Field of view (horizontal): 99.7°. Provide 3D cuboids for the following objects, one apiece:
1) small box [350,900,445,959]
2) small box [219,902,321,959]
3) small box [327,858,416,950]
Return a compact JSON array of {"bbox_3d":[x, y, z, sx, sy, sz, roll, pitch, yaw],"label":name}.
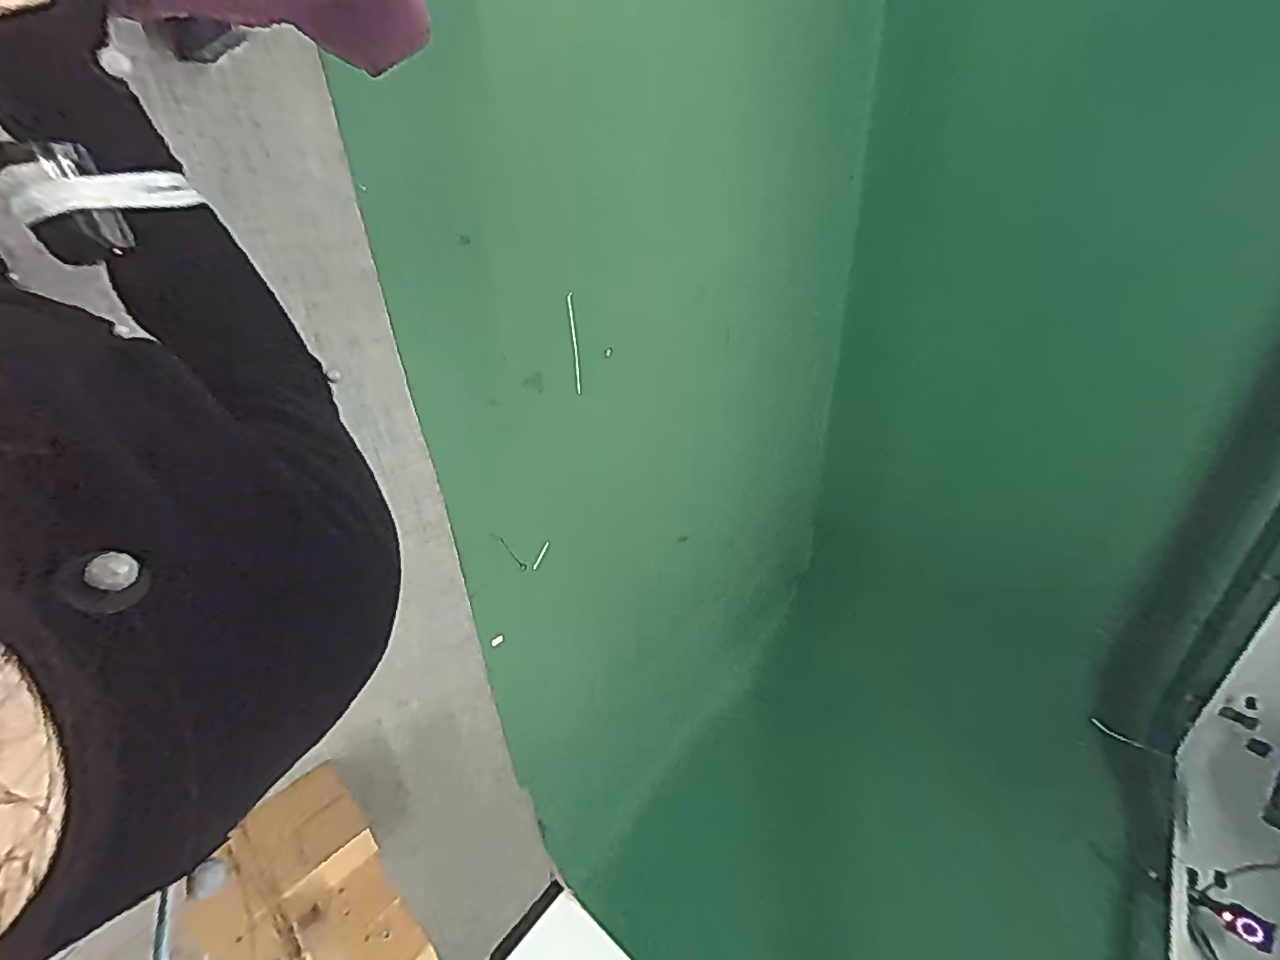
[{"bbox_3d":[-0.634,1.276,1.431,0.168,0.176,0.179,-28,127,-42],"label":"small box"},{"bbox_3d":[-0.897,1.202,1.331,0.168,0.176,0.179,-26,128,-42],"label":"small box"},{"bbox_3d":[-0.754,1.221,1.528,0.168,0.176,0.179,-28,129,-42],"label":"small box"}]
